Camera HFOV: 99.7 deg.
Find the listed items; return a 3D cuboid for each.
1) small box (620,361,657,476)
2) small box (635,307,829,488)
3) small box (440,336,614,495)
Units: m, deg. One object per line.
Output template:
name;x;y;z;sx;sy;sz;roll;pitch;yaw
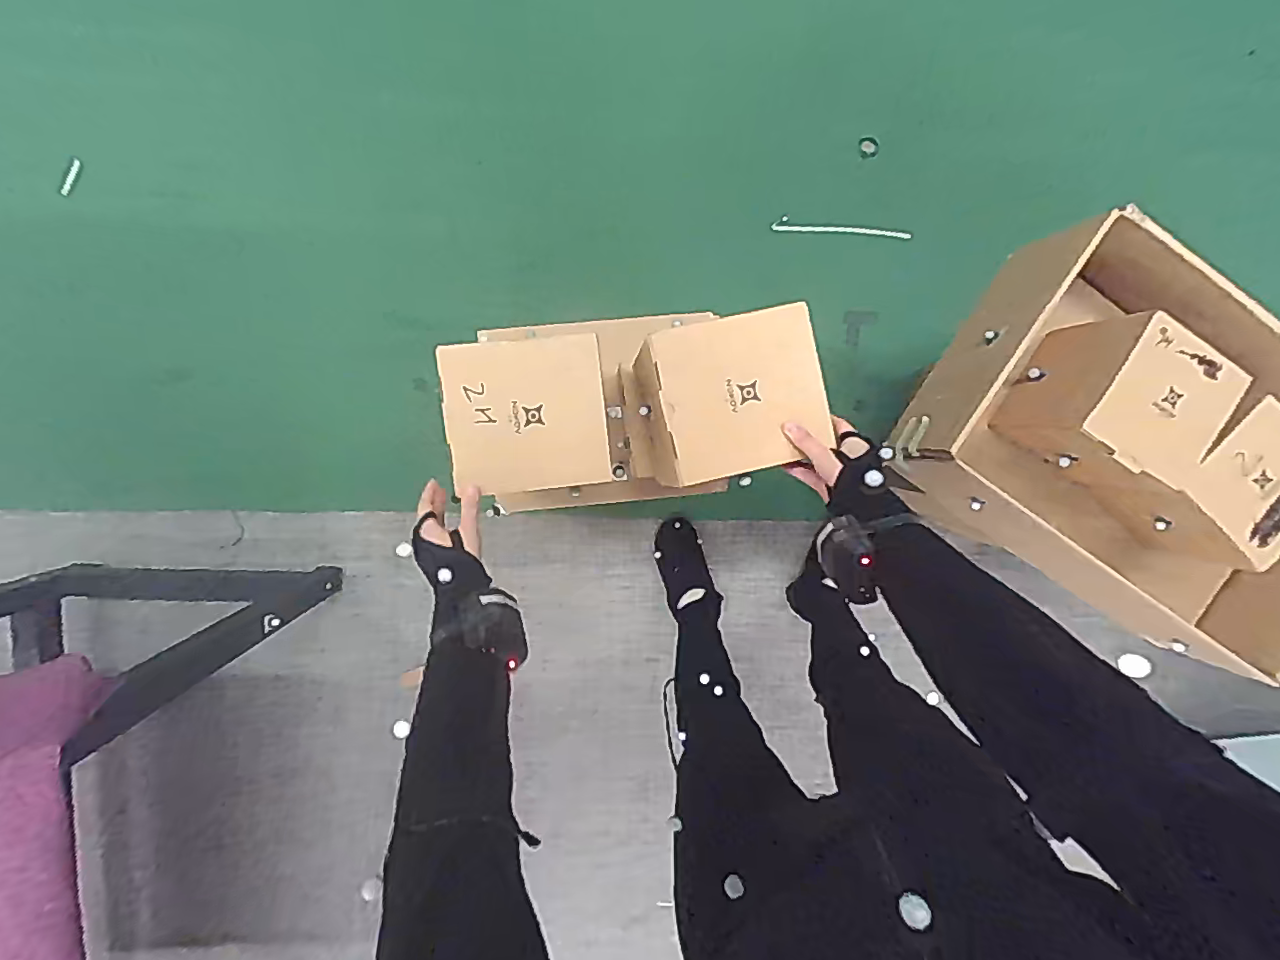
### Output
small box;0.062;-0.100;0.845;0.179;0.176;0.168;-6;97;-3
small box;0.098;-0.091;0.652;0.179;0.176;0.168;-13;92;-4
small box;-0.128;-0.079;0.671;0.179;0.176;0.168;-6;95;-3
